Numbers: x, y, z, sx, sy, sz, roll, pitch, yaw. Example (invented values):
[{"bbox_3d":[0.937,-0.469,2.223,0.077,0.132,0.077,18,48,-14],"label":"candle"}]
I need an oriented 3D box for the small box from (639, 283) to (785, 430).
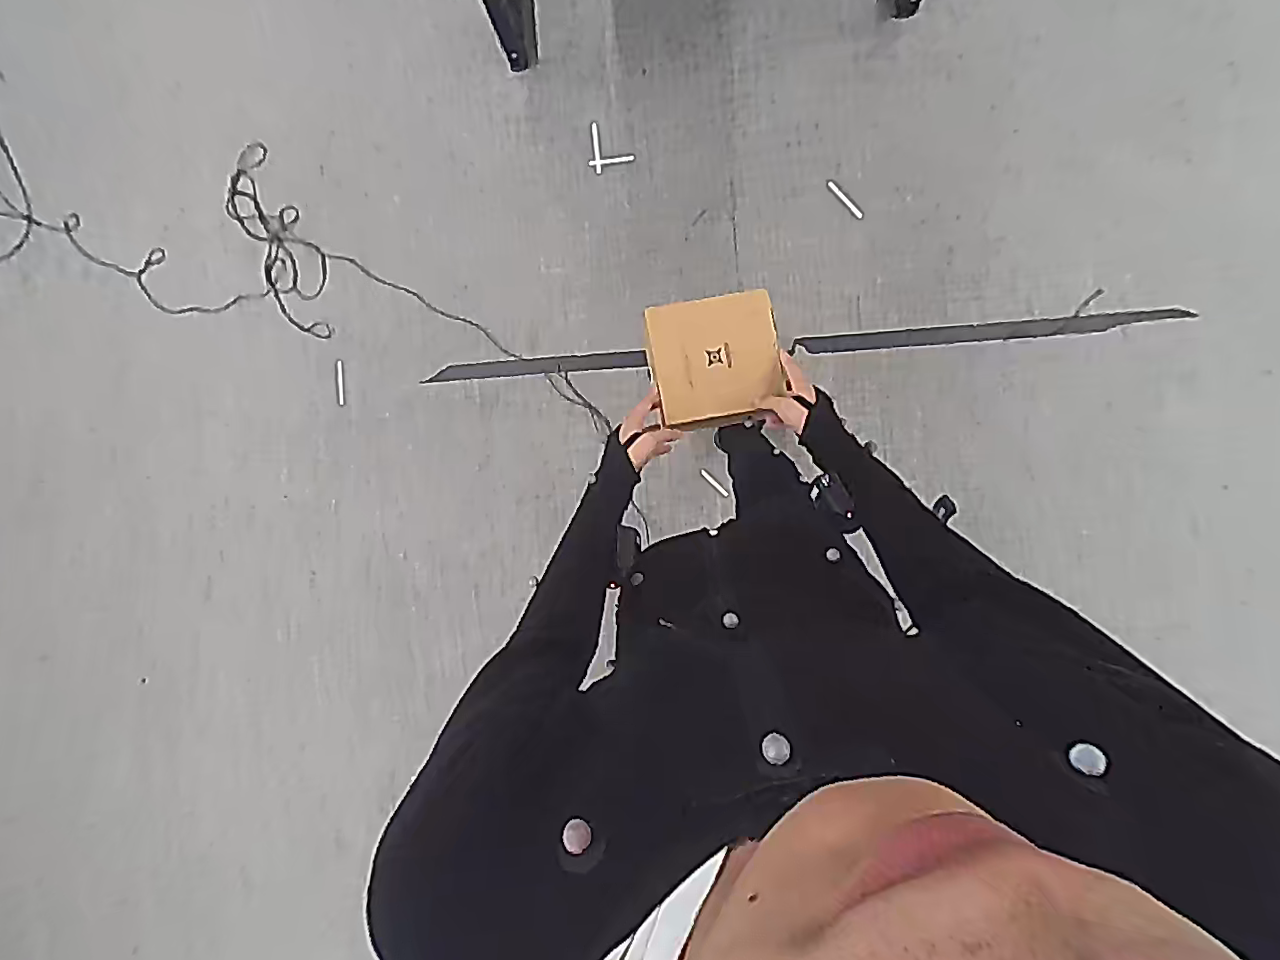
[{"bbox_3d":[0.097,-0.176,0.815,0.179,0.176,0.168,-10,89,-1],"label":"small box"}]
